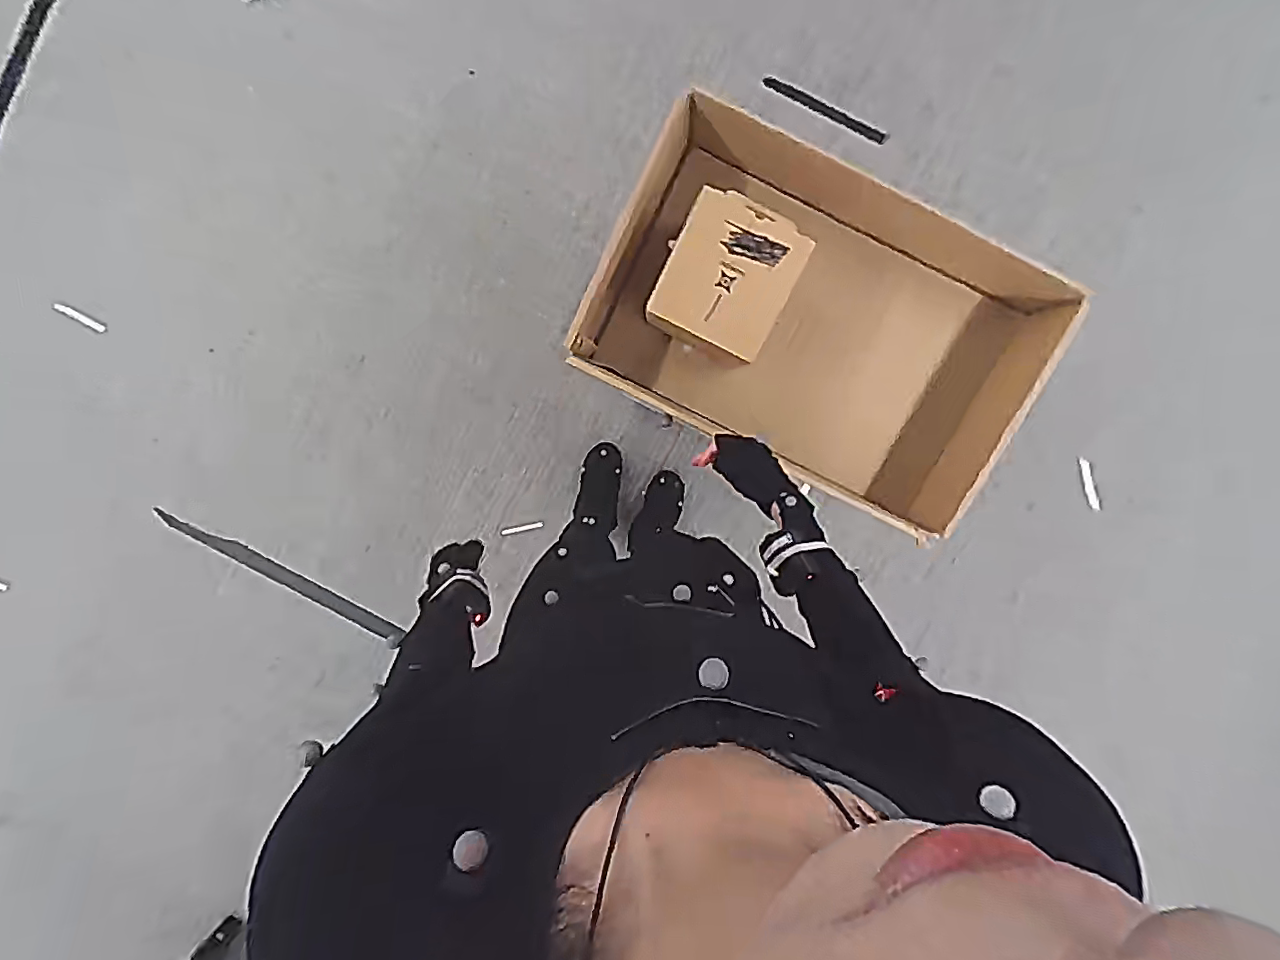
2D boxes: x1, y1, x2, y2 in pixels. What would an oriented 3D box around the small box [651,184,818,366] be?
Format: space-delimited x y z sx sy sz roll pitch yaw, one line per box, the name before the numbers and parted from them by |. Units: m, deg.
small box | 0.125 -0.282 0.788 0.168 0.176 0.179 27 100 -1
